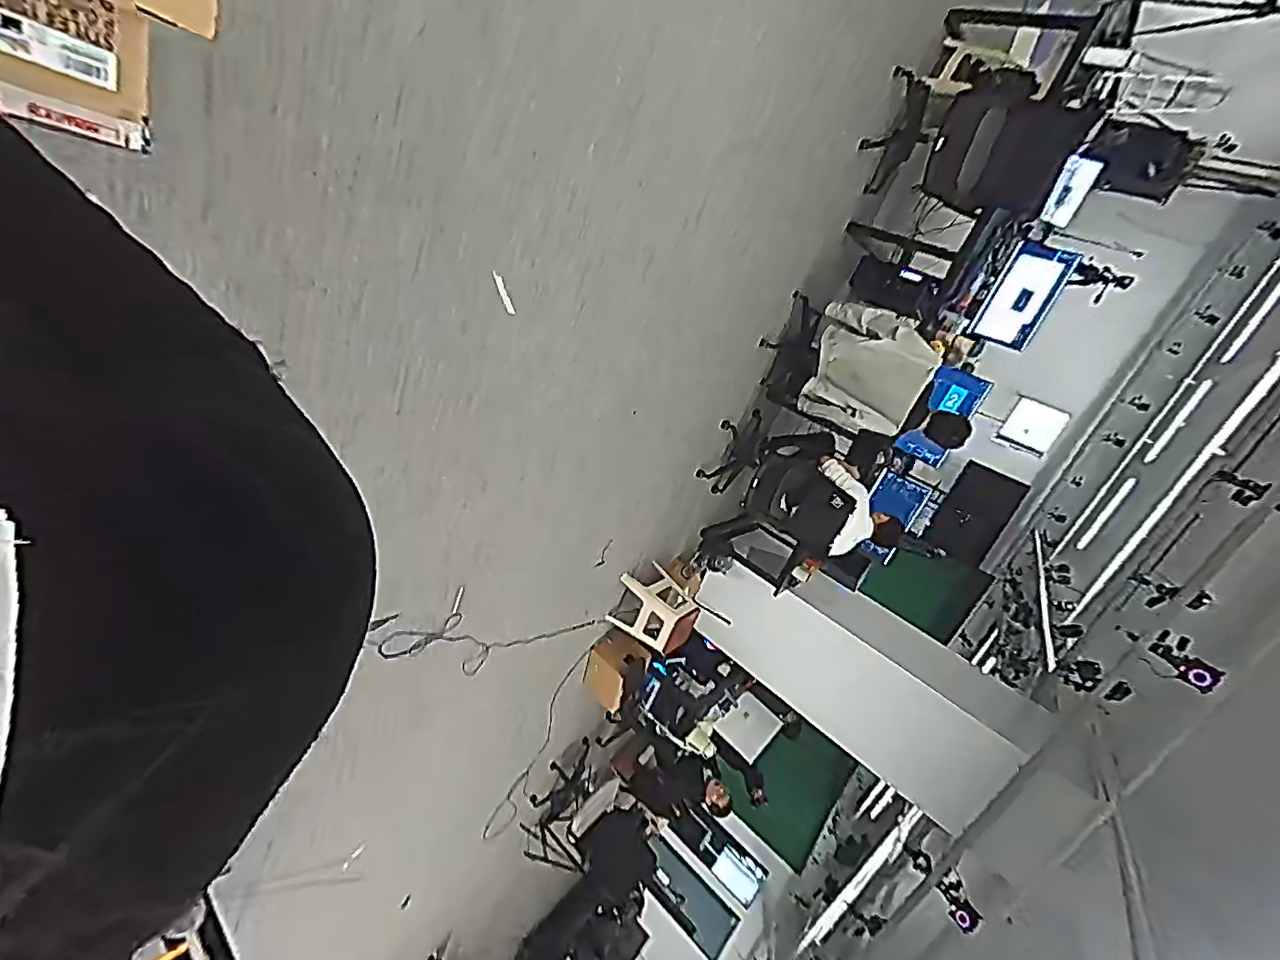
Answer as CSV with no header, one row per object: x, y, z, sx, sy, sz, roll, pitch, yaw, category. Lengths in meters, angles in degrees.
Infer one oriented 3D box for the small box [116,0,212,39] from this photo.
-0.506,-0.552,0.484,0.168,0.176,0.179,-10,130,-56,small box
